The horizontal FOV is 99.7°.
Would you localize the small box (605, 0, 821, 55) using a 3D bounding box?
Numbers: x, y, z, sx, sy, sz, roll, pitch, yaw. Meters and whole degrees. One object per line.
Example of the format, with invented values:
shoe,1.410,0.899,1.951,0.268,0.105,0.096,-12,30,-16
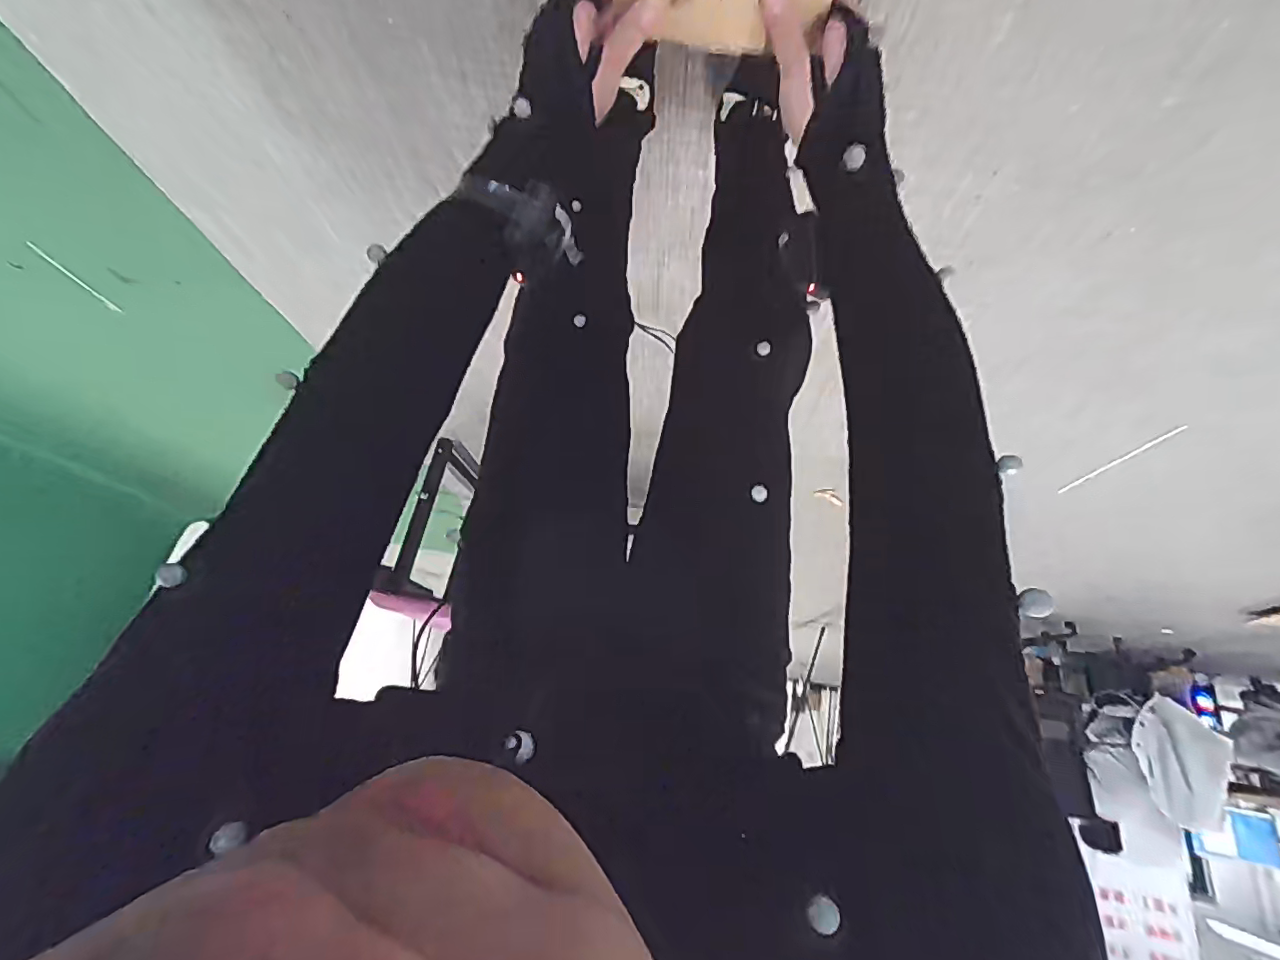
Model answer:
small box,0.070,-0.463,0.398,0.168,0.176,0.179,10,151,4
